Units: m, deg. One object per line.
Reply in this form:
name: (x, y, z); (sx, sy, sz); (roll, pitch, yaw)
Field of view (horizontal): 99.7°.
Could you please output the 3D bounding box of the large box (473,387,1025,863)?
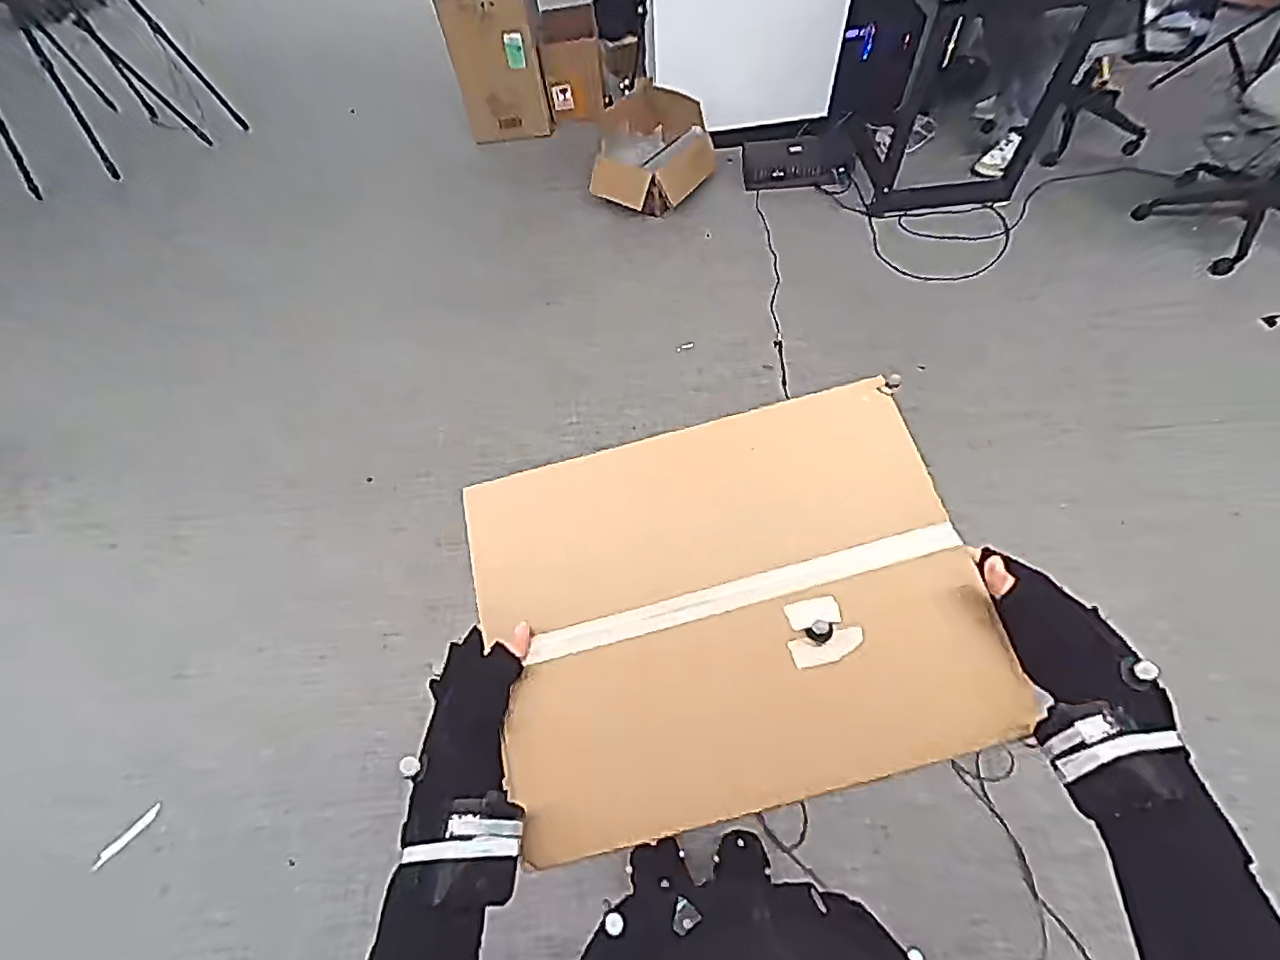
large box: (0.080, 0.151, 0.601); (0.408, 0.320, 0.320); (-15, 70, -1)
